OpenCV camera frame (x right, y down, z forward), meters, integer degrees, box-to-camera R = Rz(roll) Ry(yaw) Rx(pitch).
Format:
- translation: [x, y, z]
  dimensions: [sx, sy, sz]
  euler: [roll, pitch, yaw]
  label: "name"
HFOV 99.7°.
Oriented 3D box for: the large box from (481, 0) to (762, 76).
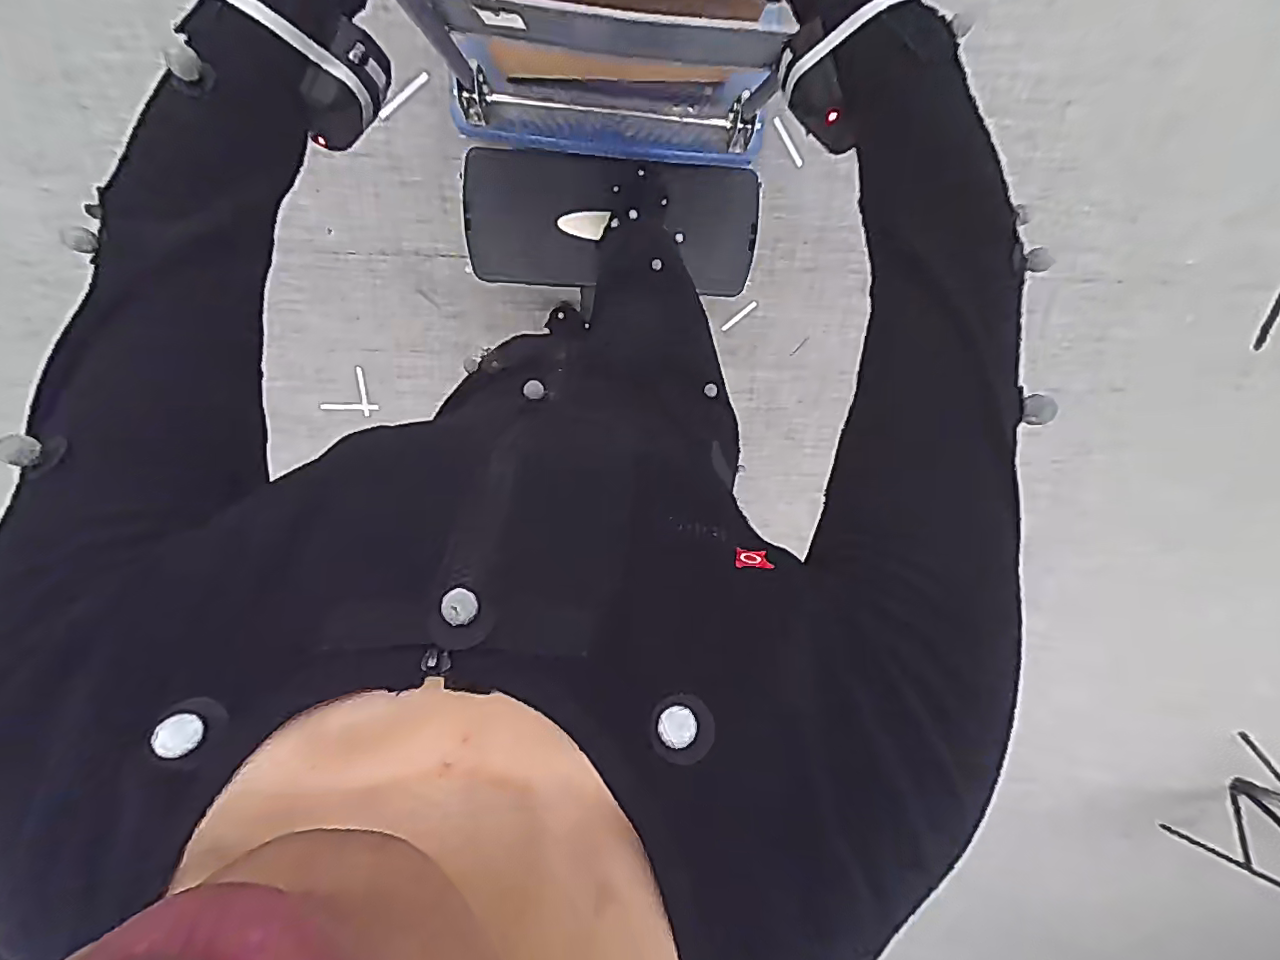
- translation: [-0.035, -0.835, 0.794]
  dimensions: [0.408, 0.320, 0.320]
  euler: [-2, 109, -4]
  label: "large box"
